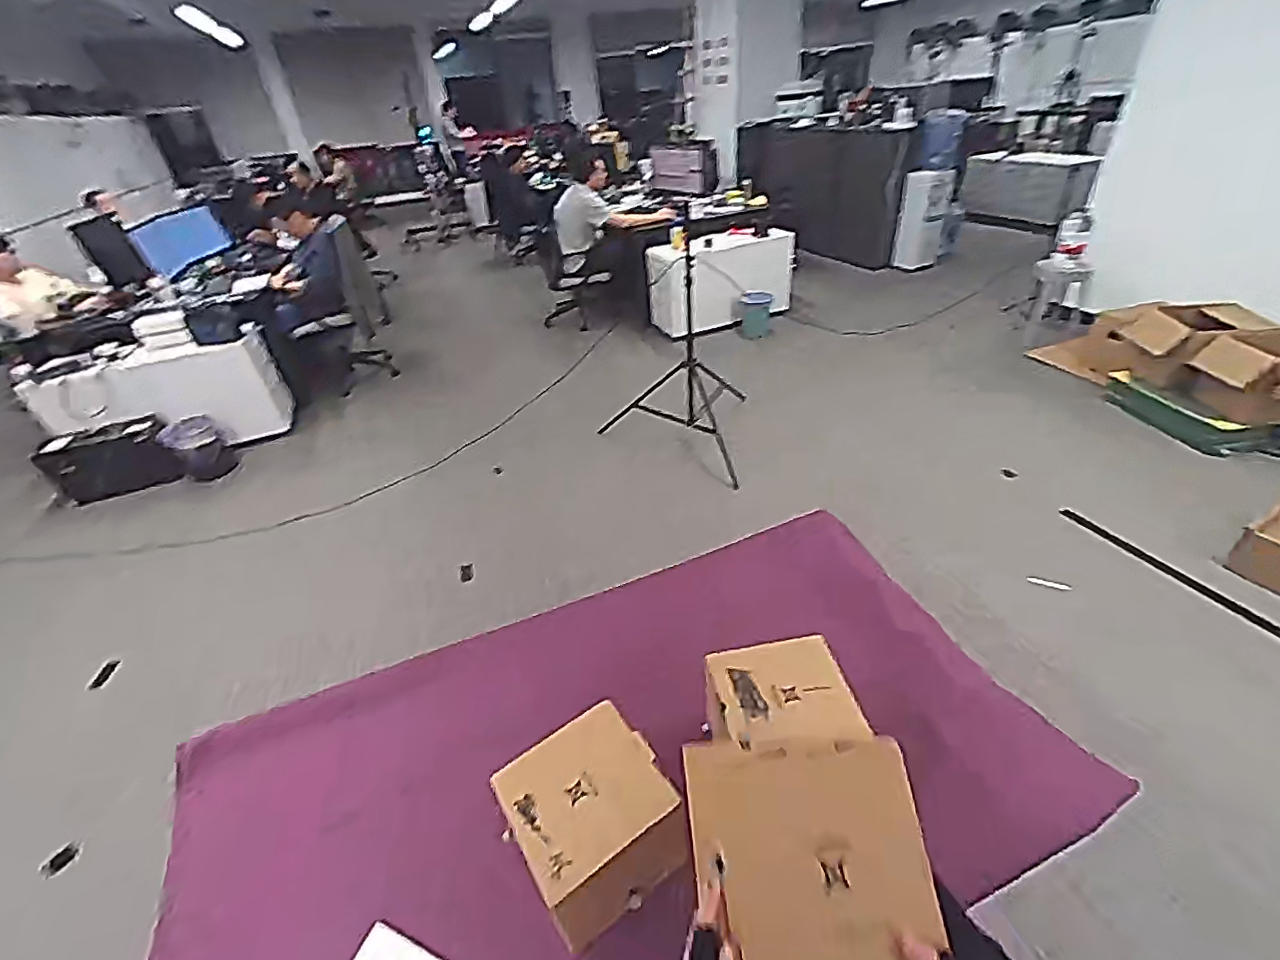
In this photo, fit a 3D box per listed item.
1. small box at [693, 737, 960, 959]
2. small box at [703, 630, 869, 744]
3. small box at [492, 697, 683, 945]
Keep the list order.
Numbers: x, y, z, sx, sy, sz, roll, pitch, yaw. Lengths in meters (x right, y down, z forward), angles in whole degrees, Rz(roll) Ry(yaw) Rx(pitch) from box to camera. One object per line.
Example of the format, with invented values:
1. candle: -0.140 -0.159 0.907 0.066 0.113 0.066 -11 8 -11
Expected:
1. small box: 0.150 0.339 0.501 0.168 0.176 0.179 -1 66 -7
2. small box: 0.194 0.342 0.762 0.179 0.176 0.168 -9 35 -4
3. small box: -0.062 0.425 0.686 0.179 0.176 0.168 -25 39 -26
